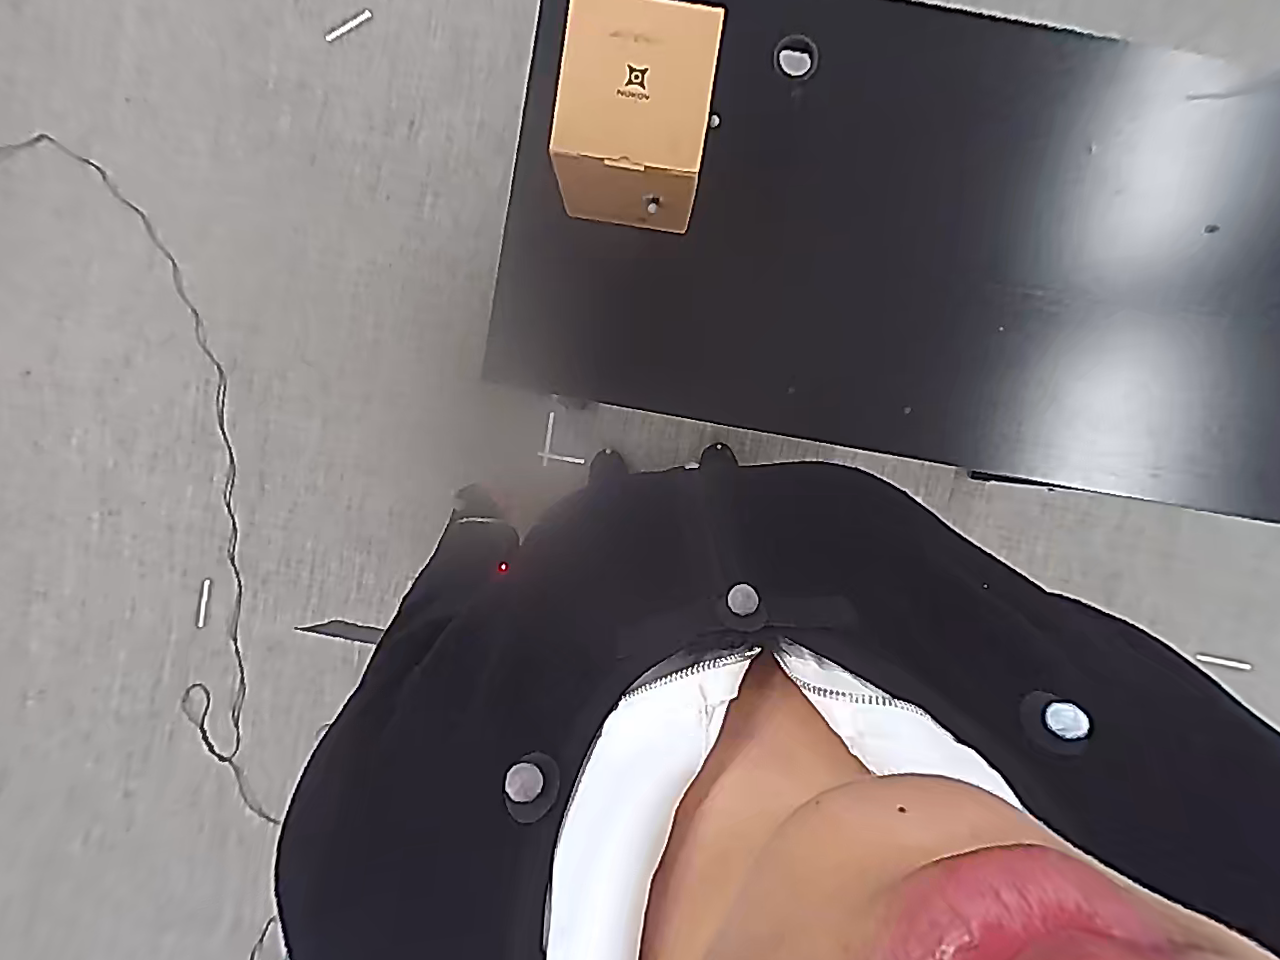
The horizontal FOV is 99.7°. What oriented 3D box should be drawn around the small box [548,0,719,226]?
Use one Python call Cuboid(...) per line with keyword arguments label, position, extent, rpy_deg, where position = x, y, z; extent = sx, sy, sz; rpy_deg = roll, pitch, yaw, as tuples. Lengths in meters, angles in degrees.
Cuboid(label="small box", position=(-0.008, -0.436, 0.662), extent=(0.168, 0.176, 0.179), rpy_deg=(8, 93, -2))
